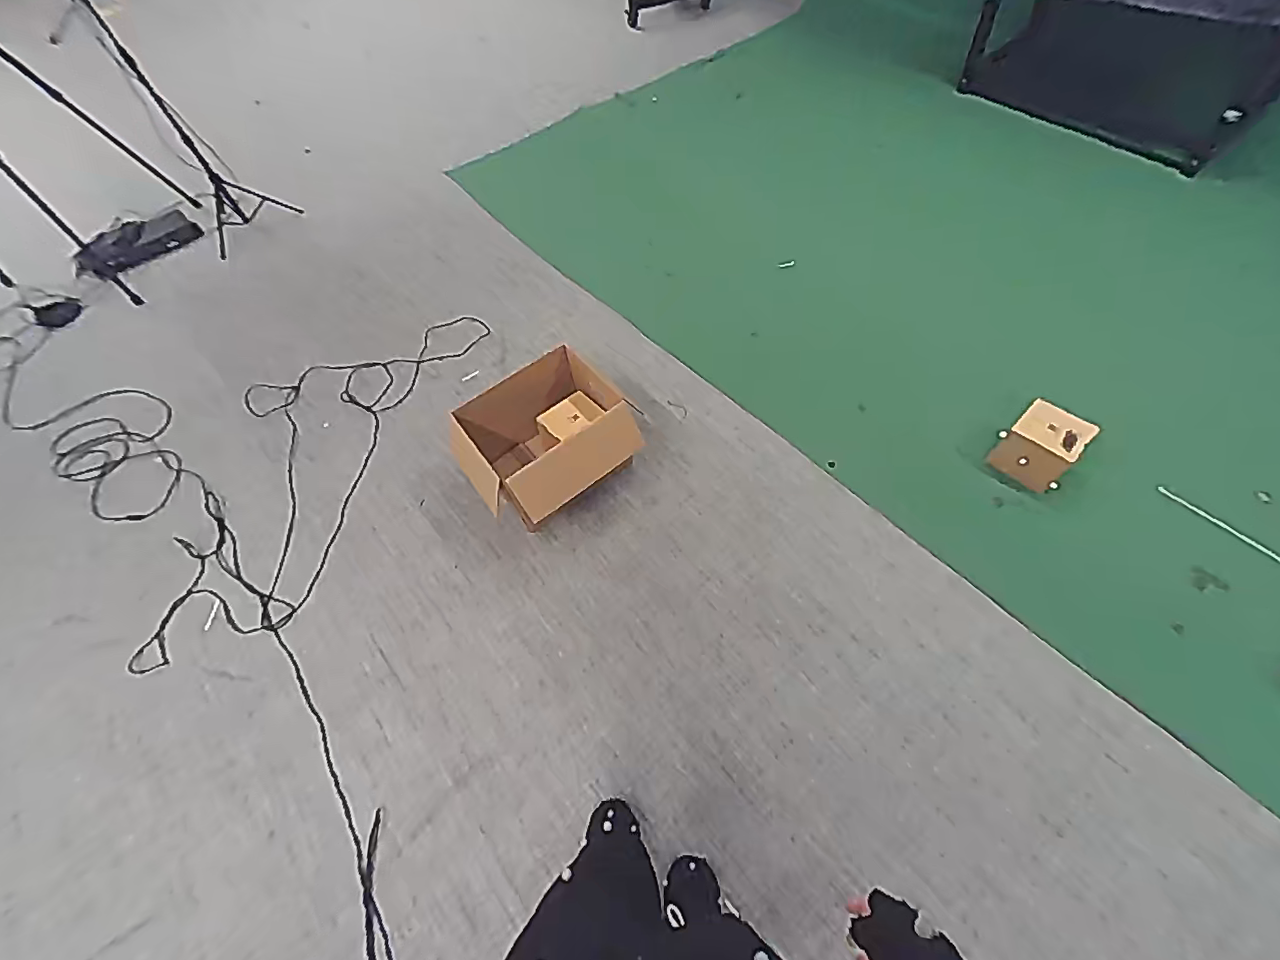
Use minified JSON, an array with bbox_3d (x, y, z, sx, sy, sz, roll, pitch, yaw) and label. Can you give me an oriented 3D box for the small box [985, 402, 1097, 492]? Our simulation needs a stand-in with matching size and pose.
[{"bbox_3d":[1.170,-0.087,1.589,0.168,0.176,0.179,-39,61,-19],"label":"small box"}]
